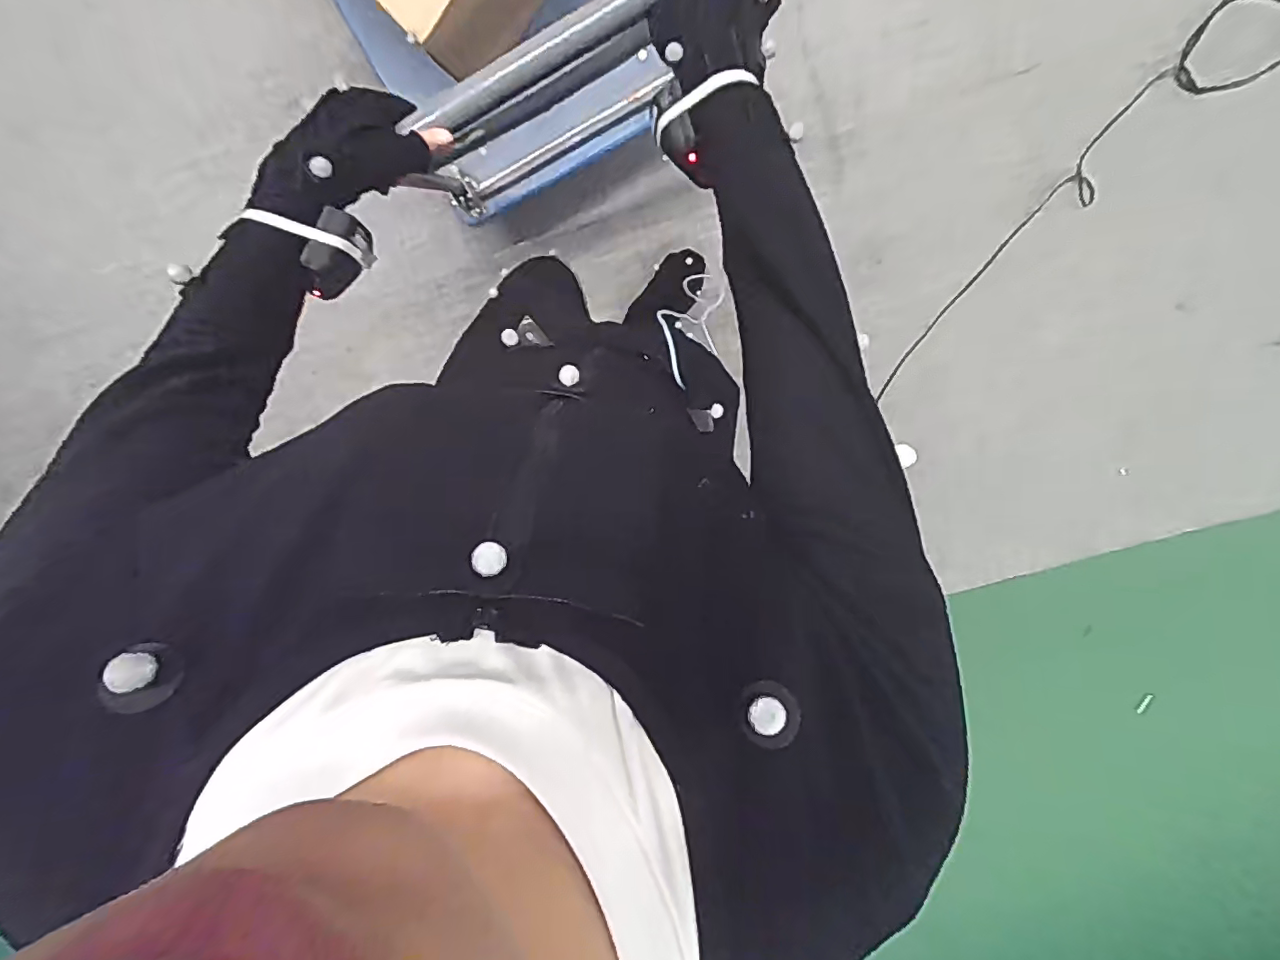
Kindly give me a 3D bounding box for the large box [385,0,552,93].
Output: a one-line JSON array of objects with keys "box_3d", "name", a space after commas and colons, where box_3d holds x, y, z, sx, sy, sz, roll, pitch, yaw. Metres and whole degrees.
[{"box_3d": [-0.265, -0.898, 0.798, 0.320, 0.320, 0.408, 40, 109, -16], "name": "large box"}]
